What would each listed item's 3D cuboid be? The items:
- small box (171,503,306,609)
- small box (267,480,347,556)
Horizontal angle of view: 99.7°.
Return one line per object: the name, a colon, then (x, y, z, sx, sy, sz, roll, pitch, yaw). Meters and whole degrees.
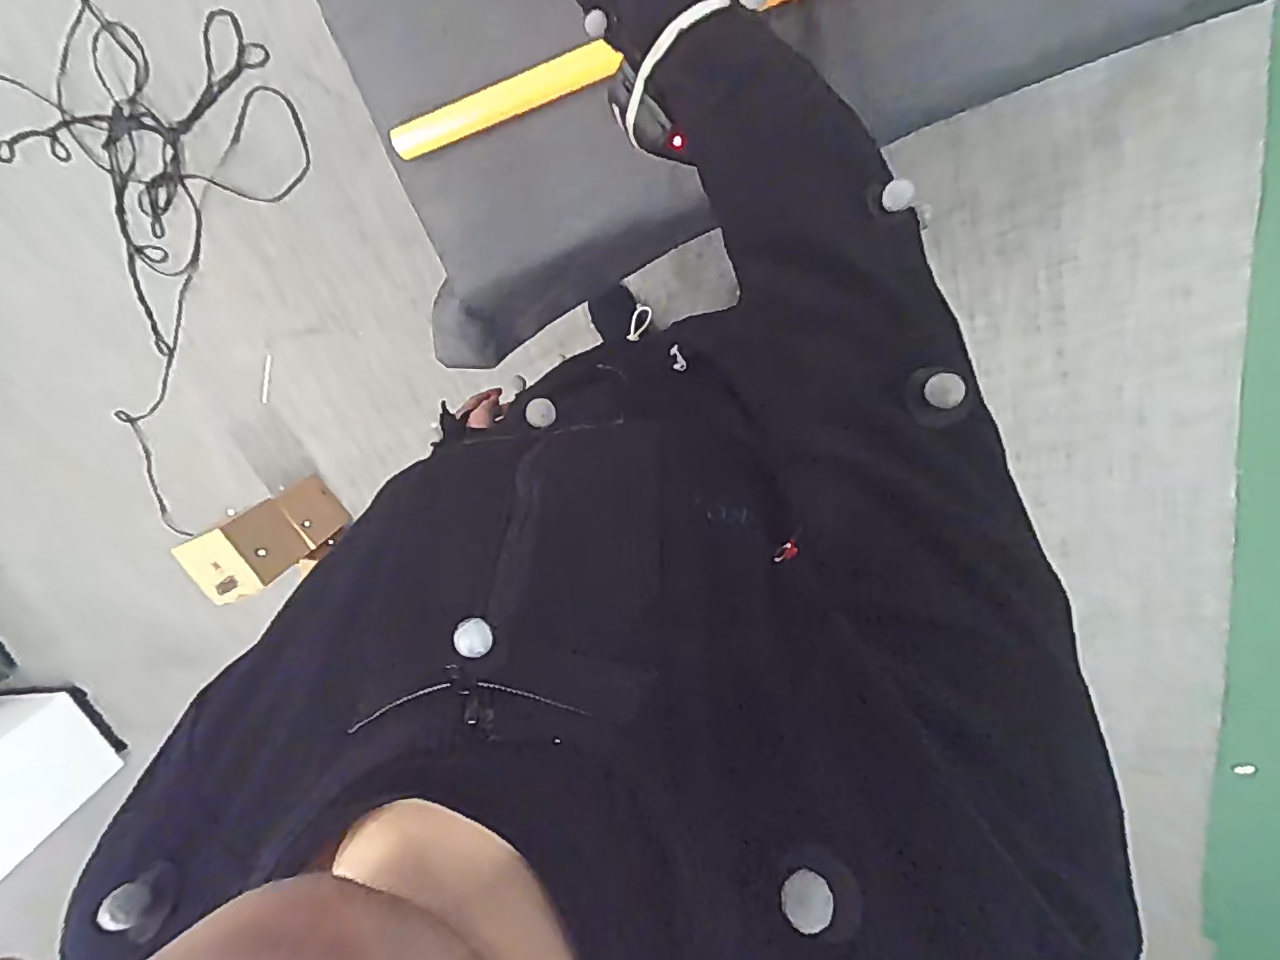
small box: (-0.994, 0.187, 1.357, 0.168, 0.176, 0.179, -20, 110, 15)
small box: (-0.968, 0.126, 1.507, 0.179, 0.176, 0.168, -25, 108, 17)
